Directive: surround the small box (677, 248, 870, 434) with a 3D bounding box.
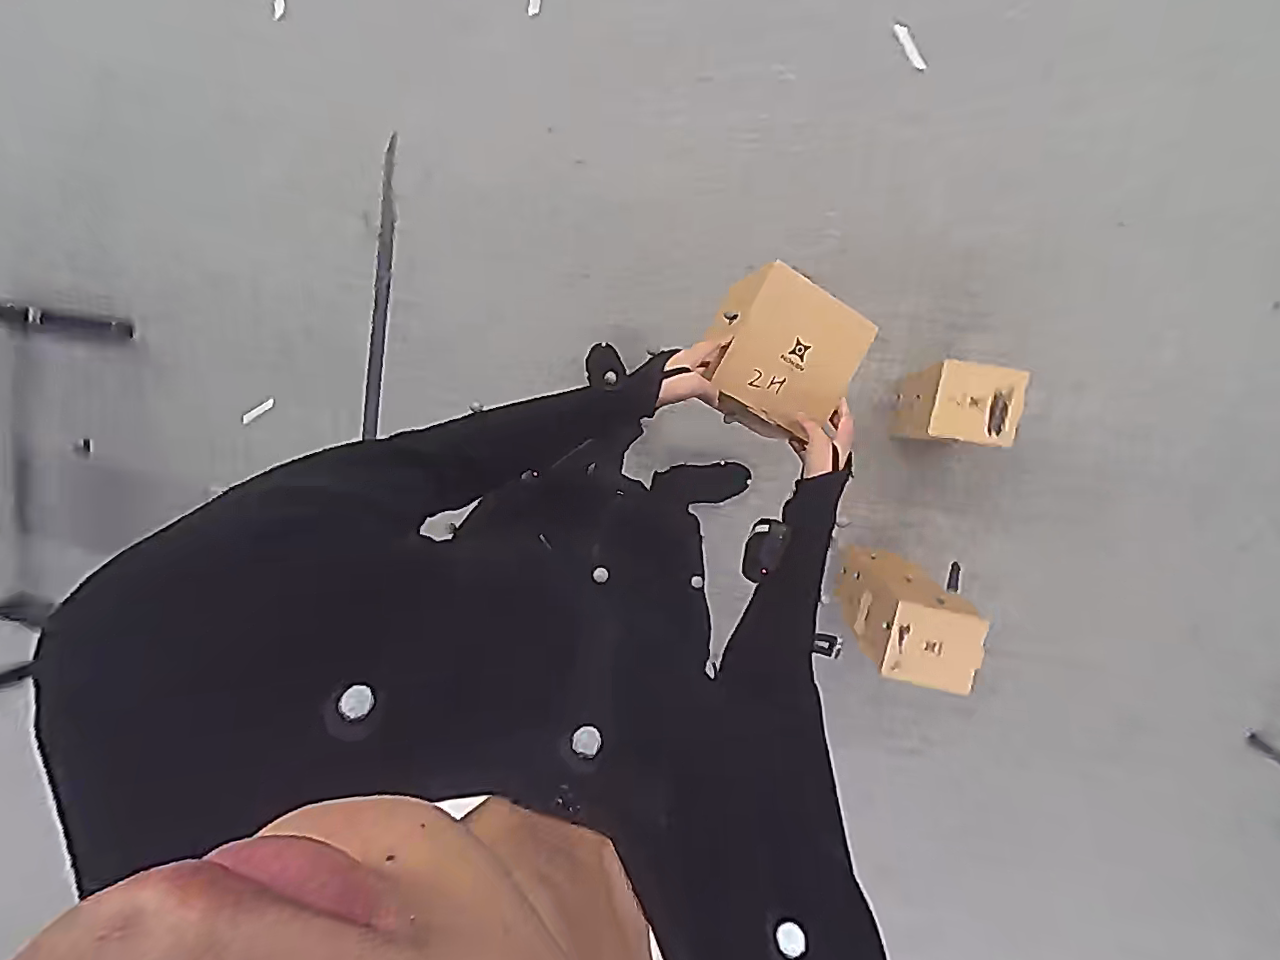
[{"bbox_3d":[0.170,-0.181,0.750,0.168,0.176,0.179,27,93,-13],"label":"small box"}]

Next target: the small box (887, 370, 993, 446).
[{"bbox_3d":[0.767,-0.186,1.399,0.179,0.176,0.168,8,98,8],"label":"small box"}]

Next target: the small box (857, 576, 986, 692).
[{"bbox_3d":[0.590,0.320,1.157,0.179,0.176,0.168,12,99,7],"label":"small box"}]

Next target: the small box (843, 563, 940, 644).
[{"bbox_3d":[0.613,0.312,1.321,0.179,0.176,0.168,12,100,7],"label":"small box"}]

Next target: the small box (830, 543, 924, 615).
[{"bbox_3d":[0.639,0.284,1.480,0.179,0.176,0.168,13,99,8],"label":"small box"}]
